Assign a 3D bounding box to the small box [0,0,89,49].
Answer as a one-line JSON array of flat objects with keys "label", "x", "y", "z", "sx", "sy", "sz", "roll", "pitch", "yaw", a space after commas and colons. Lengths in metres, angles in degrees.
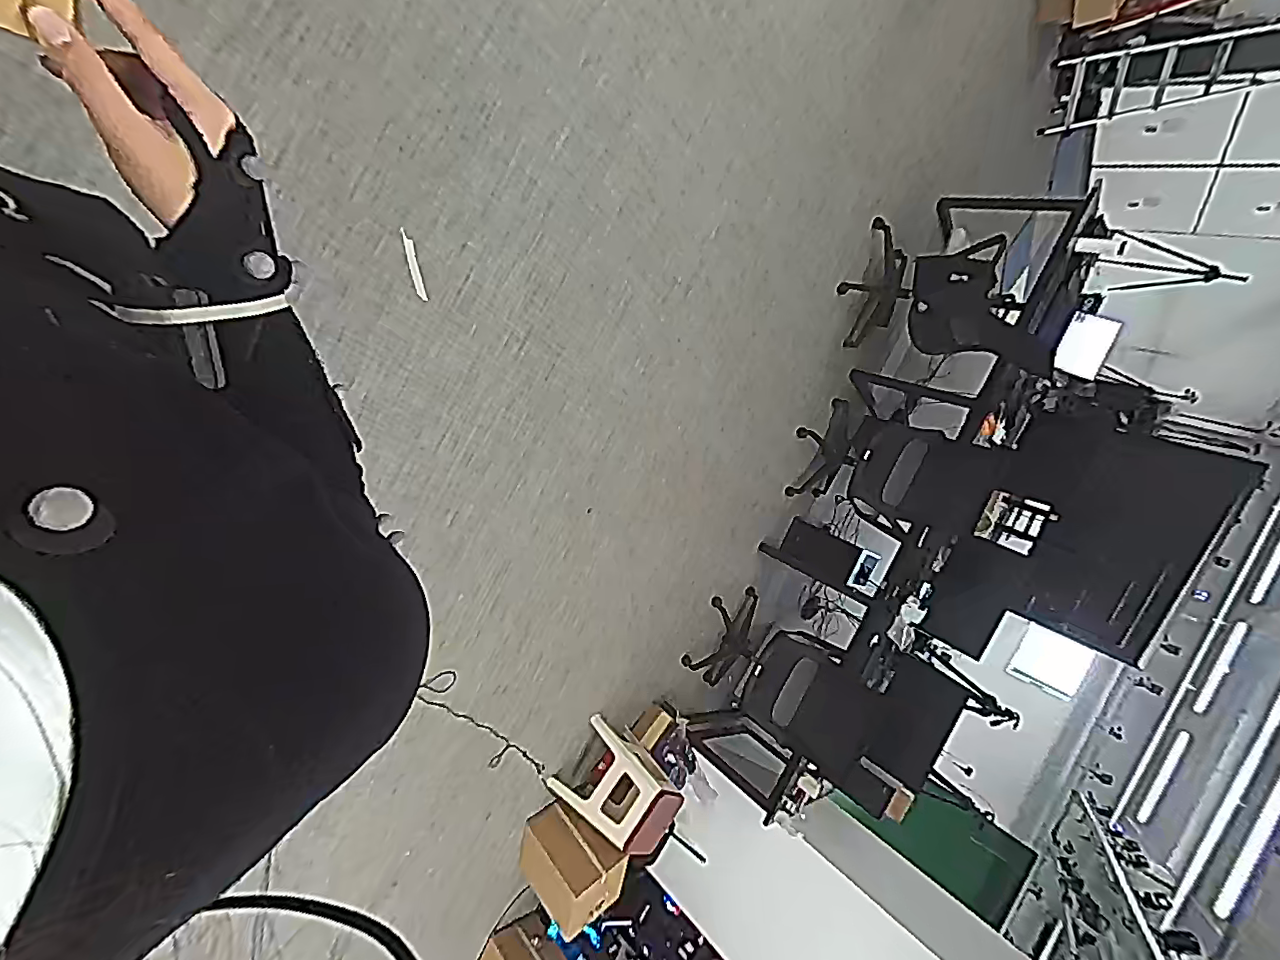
[{"label": "small box", "x": -0.348, "y": -0.322, "z": 0.226, "sx": 0.168, "sy": 0.176, "sz": 0.179, "roll": 1, "pitch": 118, "yaw": -46}]
